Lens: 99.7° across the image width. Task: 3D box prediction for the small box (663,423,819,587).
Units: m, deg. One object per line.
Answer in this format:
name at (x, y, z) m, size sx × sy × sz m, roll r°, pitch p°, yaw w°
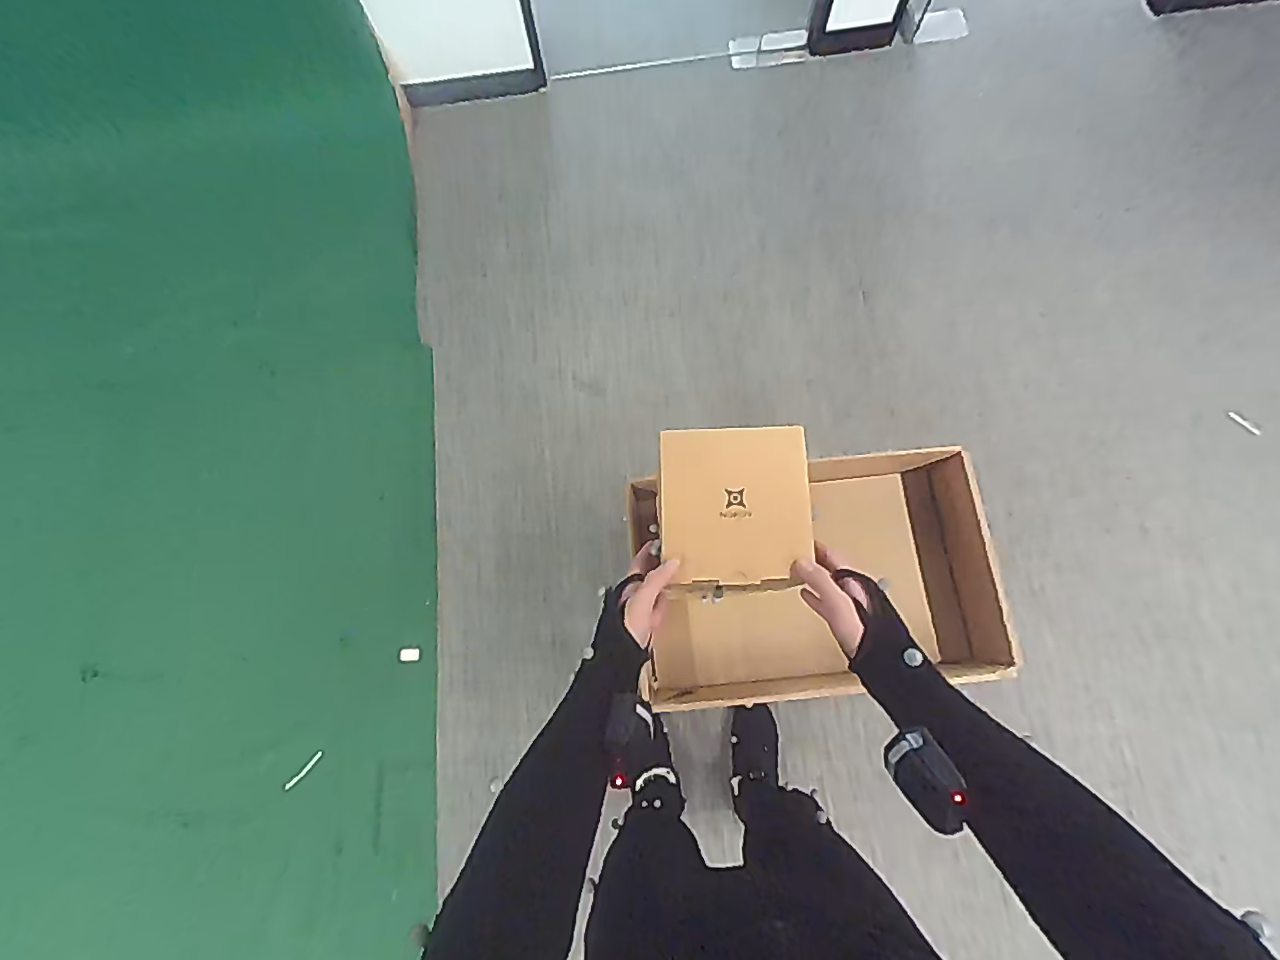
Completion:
small box at (0.112, 0.039, 0.676) m, size 0.168 × 0.176 × 0.179 m, roll -1°, pitch 76°, yaw 2°
